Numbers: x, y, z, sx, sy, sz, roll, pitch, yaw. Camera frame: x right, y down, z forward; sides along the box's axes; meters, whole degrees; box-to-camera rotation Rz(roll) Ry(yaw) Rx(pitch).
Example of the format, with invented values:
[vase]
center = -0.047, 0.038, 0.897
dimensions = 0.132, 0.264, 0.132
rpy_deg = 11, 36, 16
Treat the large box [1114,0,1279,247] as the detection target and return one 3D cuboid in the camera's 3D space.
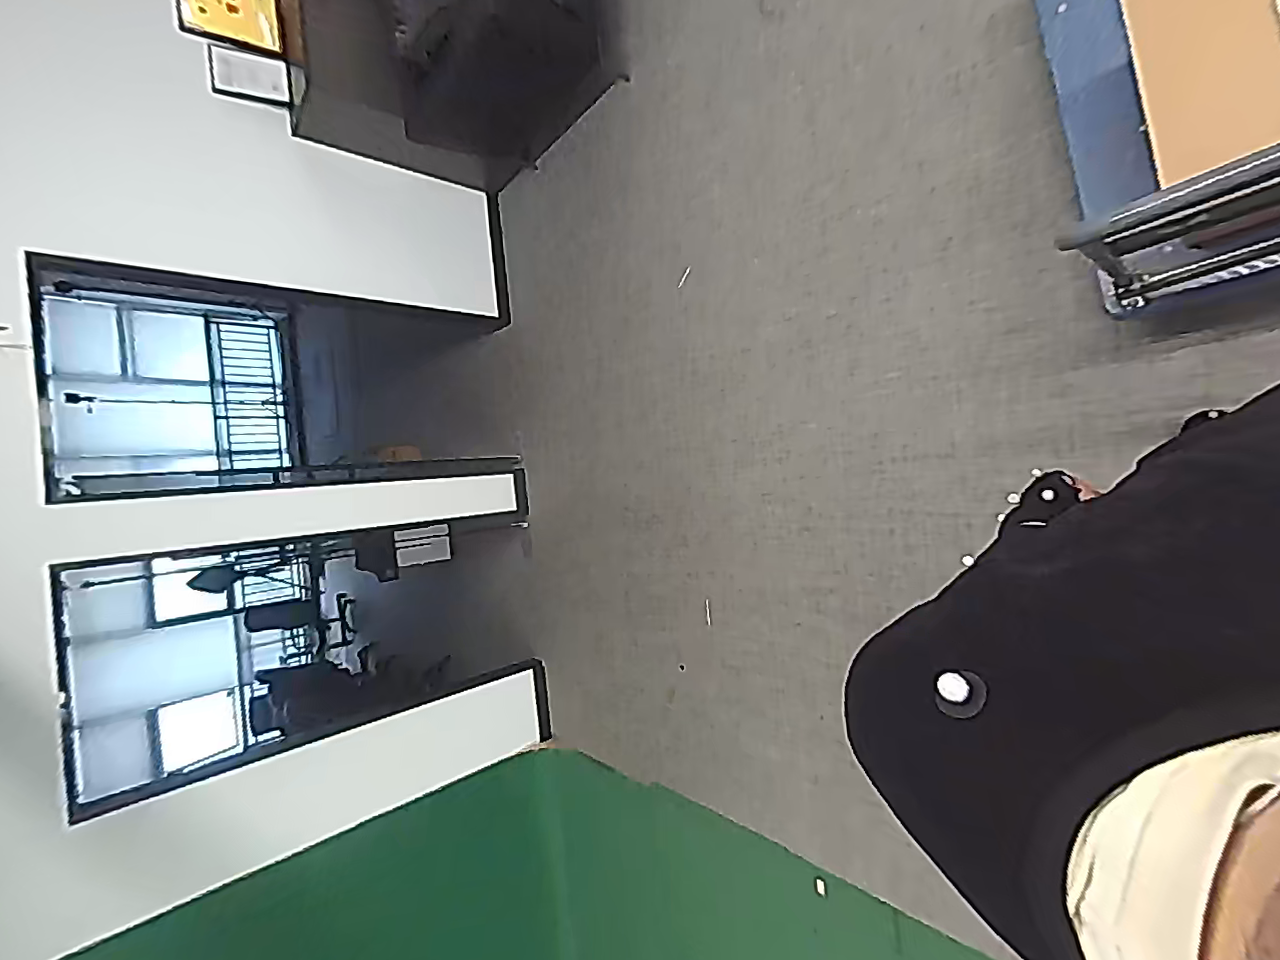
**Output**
[large box]
center = 1.010, -0.653, 0.846
dimensions = 0.320, 0.320, 0.408
rpy_deg = -13, 83, 49
